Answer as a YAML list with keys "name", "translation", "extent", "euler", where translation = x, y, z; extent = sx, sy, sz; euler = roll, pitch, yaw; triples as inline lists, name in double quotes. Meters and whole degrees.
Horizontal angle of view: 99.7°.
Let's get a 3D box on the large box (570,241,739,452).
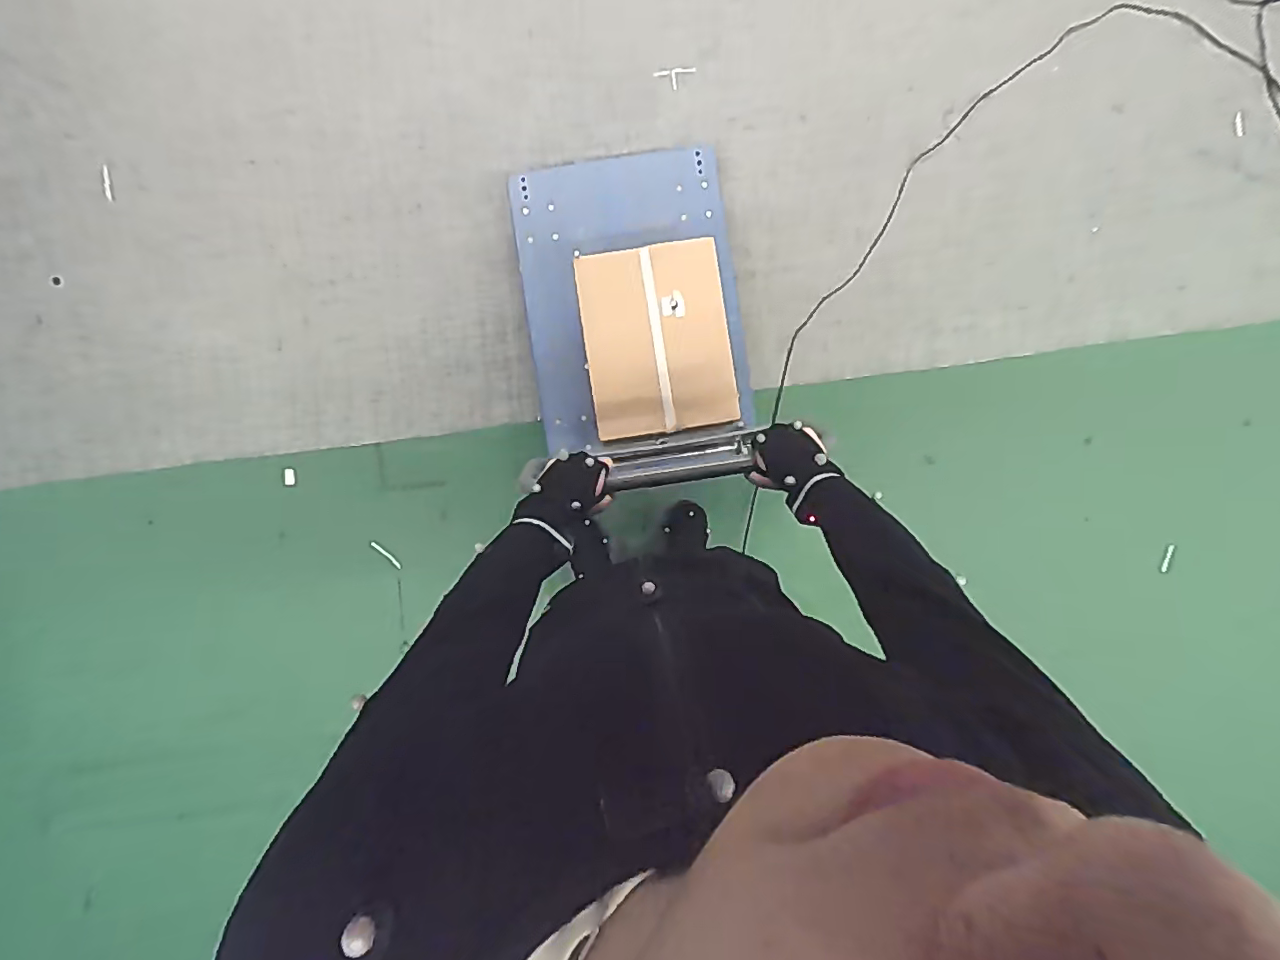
- name: "large box"
  translation: [0.031, -0.298, 1.322]
  extent: [0.320, 0.320, 0.408]
  euler: [-9, 89, -2]
